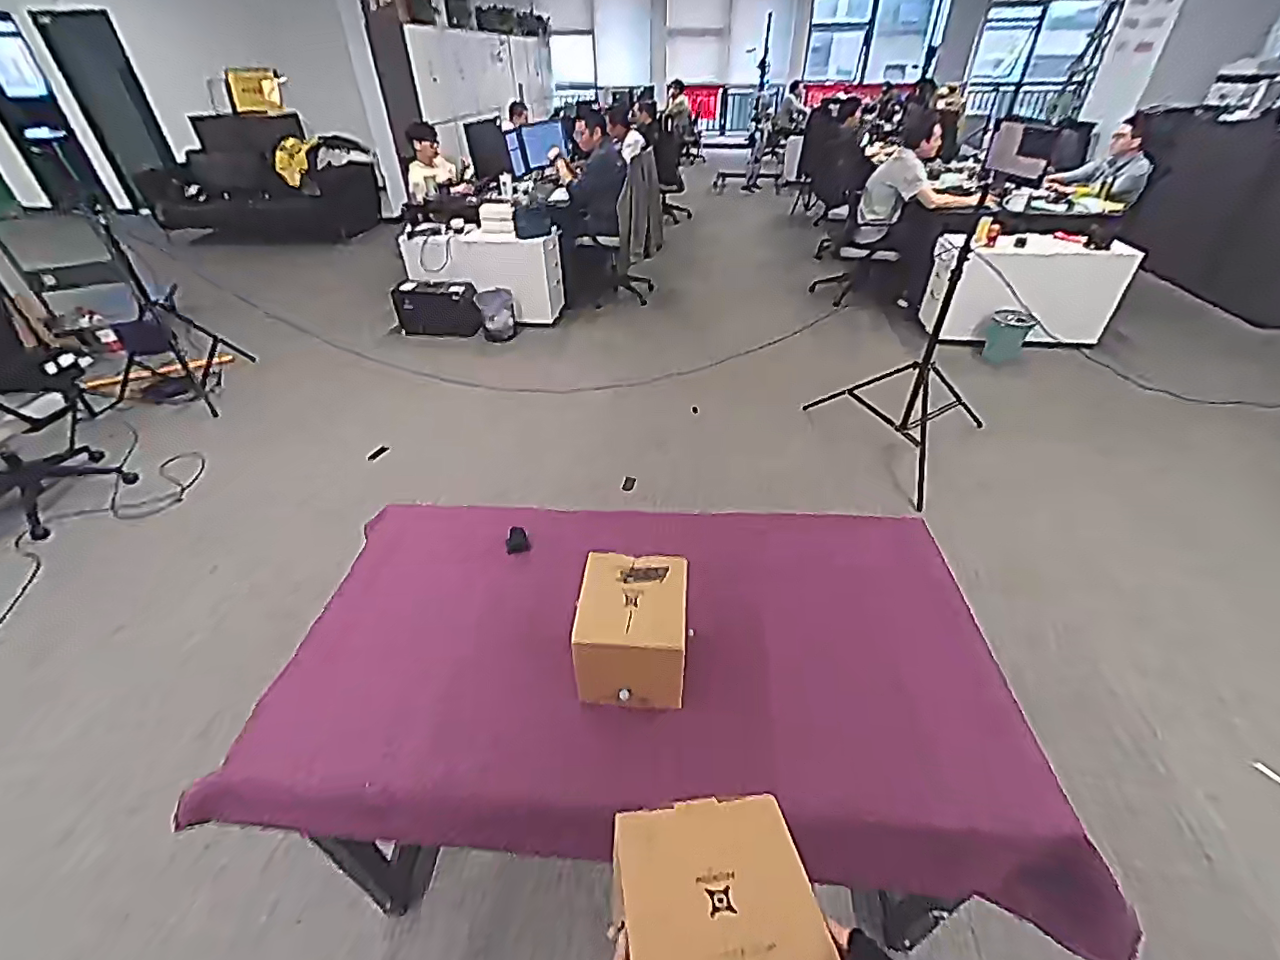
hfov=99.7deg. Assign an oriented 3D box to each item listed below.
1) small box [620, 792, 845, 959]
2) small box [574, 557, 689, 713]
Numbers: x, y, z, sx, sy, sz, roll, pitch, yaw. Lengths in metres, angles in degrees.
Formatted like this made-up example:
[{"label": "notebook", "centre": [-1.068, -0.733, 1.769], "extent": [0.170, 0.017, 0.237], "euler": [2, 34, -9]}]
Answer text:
[{"label": "small box", "centre": [0.070, 0.429, 0.495], "extent": [0.168, 0.176, 0.179], "euler": [-3, 23, -7]}, {"label": "small box", "centre": [-0.008, 0.250, 0.883], "extent": [0.168, 0.176, 0.179], "euler": [2, 38, 4]}]
